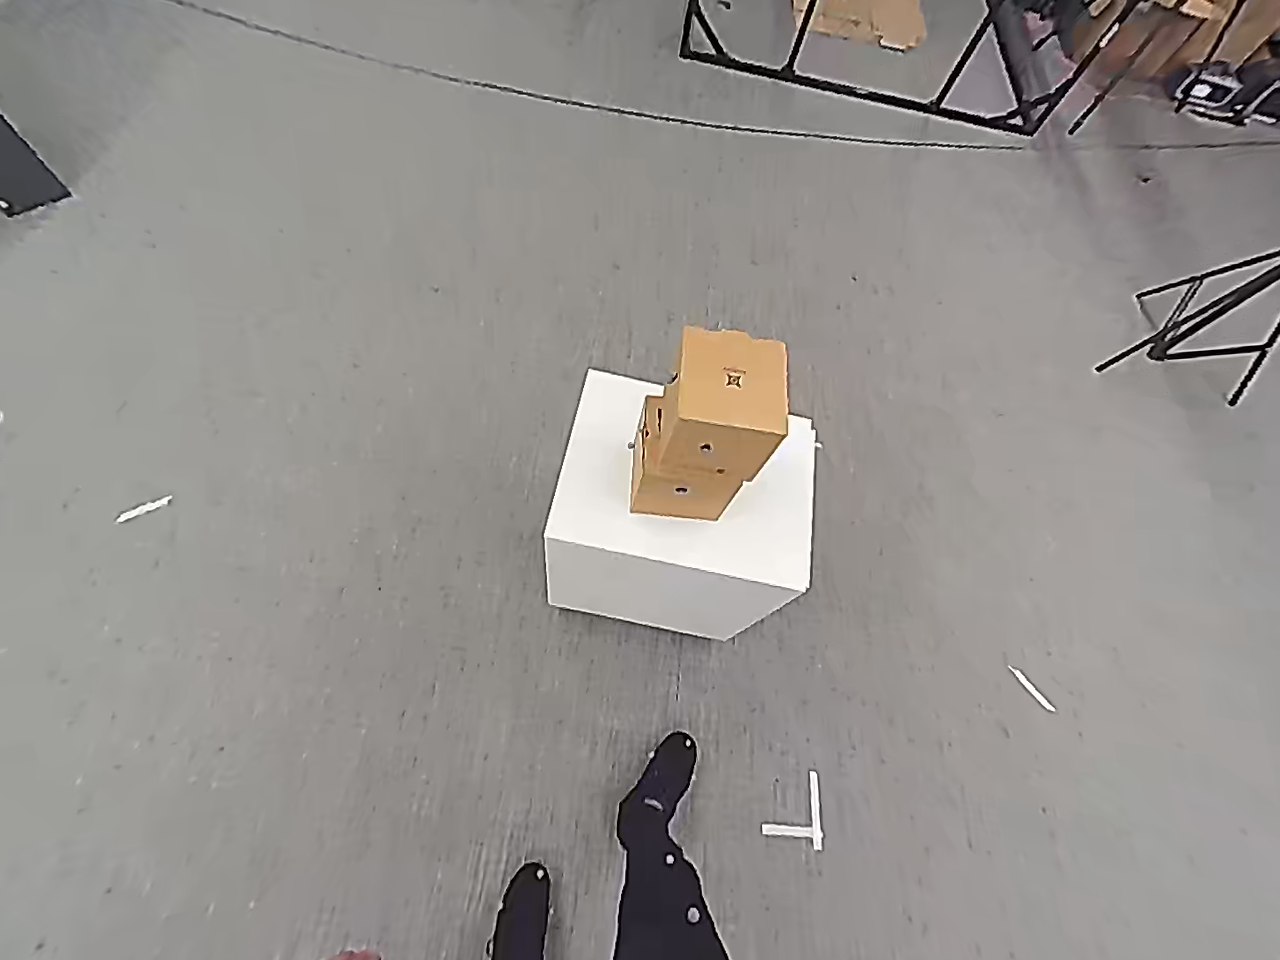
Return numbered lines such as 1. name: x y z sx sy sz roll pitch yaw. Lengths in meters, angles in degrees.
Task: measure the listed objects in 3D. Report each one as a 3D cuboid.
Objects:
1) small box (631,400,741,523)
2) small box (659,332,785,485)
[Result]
1. small box: 0.081 -0.028 1.021 0.179 0.176 0.168 6 63 -7
2. small box: 0.129 -0.108 0.885 0.168 0.176 0.179 9 62 -5
